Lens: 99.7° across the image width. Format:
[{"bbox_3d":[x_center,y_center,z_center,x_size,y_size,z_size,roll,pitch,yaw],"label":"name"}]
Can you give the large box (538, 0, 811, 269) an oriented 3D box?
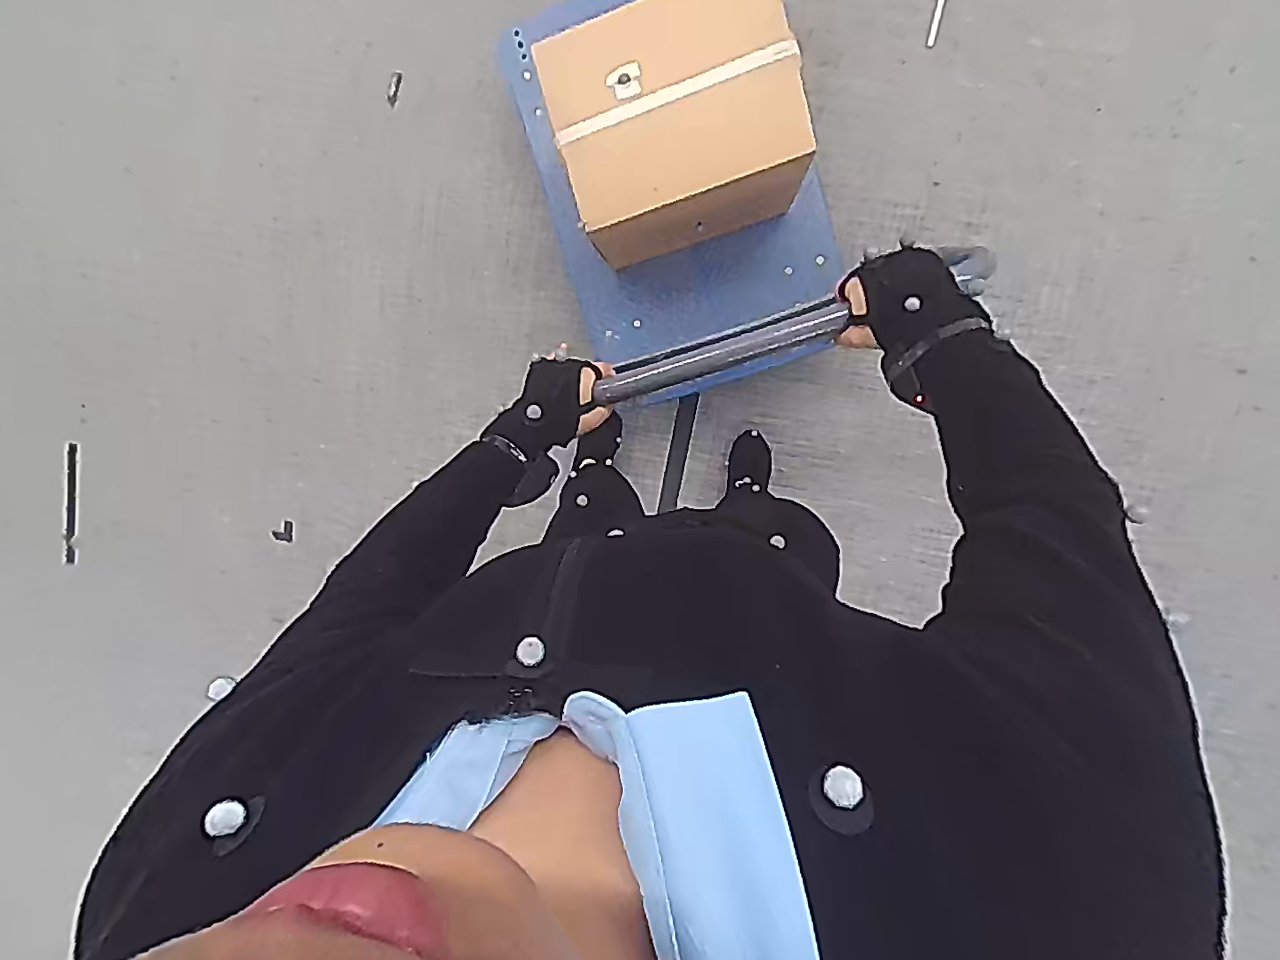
[{"bbox_3d":[0.074,-0.657,1.056,0.408,0.320,0.320,-16,96,10],"label":"large box"}]
